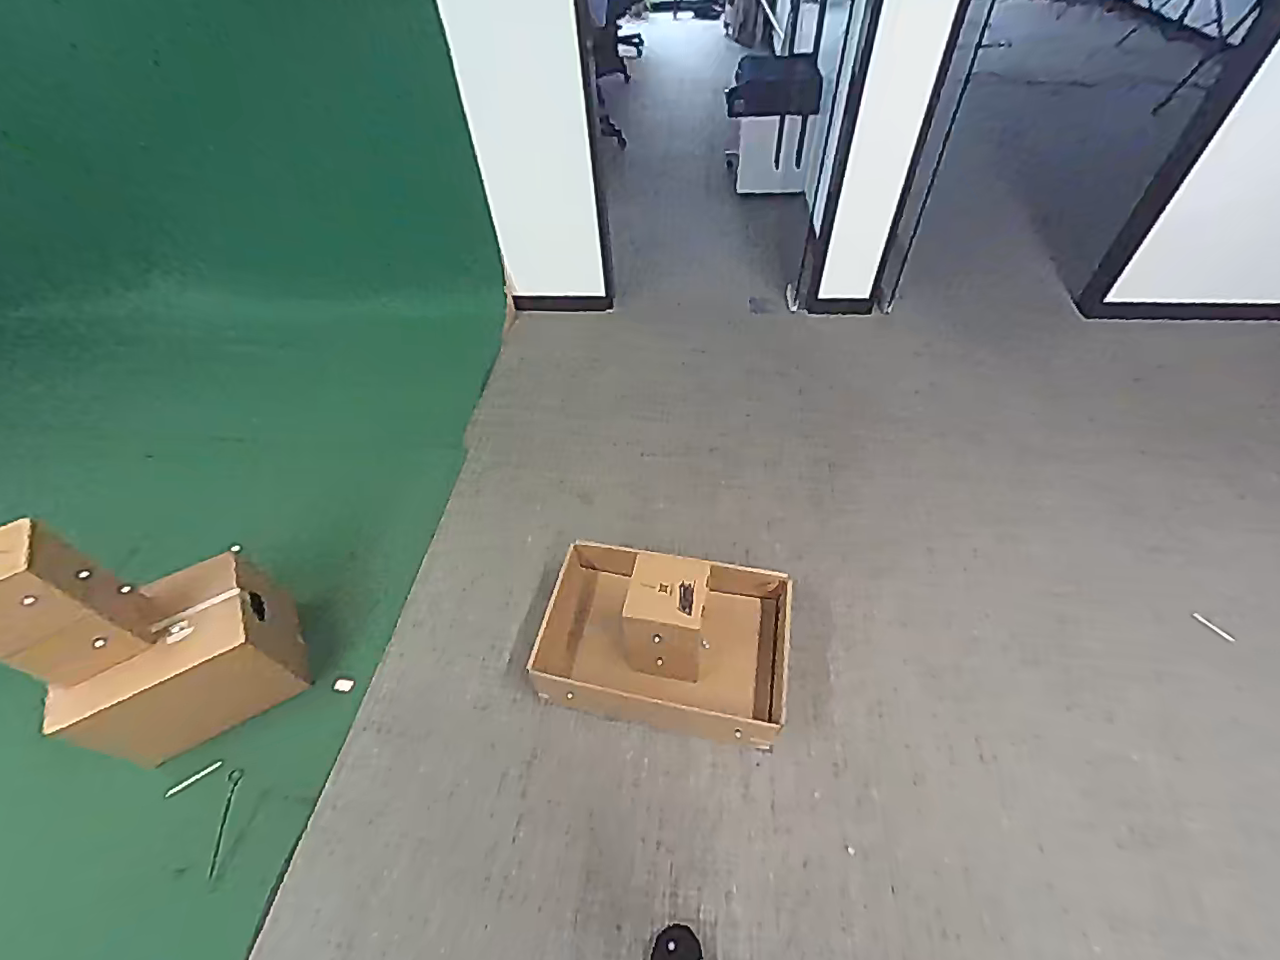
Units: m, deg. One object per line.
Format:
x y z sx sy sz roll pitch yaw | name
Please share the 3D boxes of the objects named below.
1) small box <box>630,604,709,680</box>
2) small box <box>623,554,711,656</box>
0.081 0.403 1.404 0.179 0.176 0.168 7 52 10 | small box
0.069 0.299 1.277 0.179 0.176 0.168 7 51 12 | small box
